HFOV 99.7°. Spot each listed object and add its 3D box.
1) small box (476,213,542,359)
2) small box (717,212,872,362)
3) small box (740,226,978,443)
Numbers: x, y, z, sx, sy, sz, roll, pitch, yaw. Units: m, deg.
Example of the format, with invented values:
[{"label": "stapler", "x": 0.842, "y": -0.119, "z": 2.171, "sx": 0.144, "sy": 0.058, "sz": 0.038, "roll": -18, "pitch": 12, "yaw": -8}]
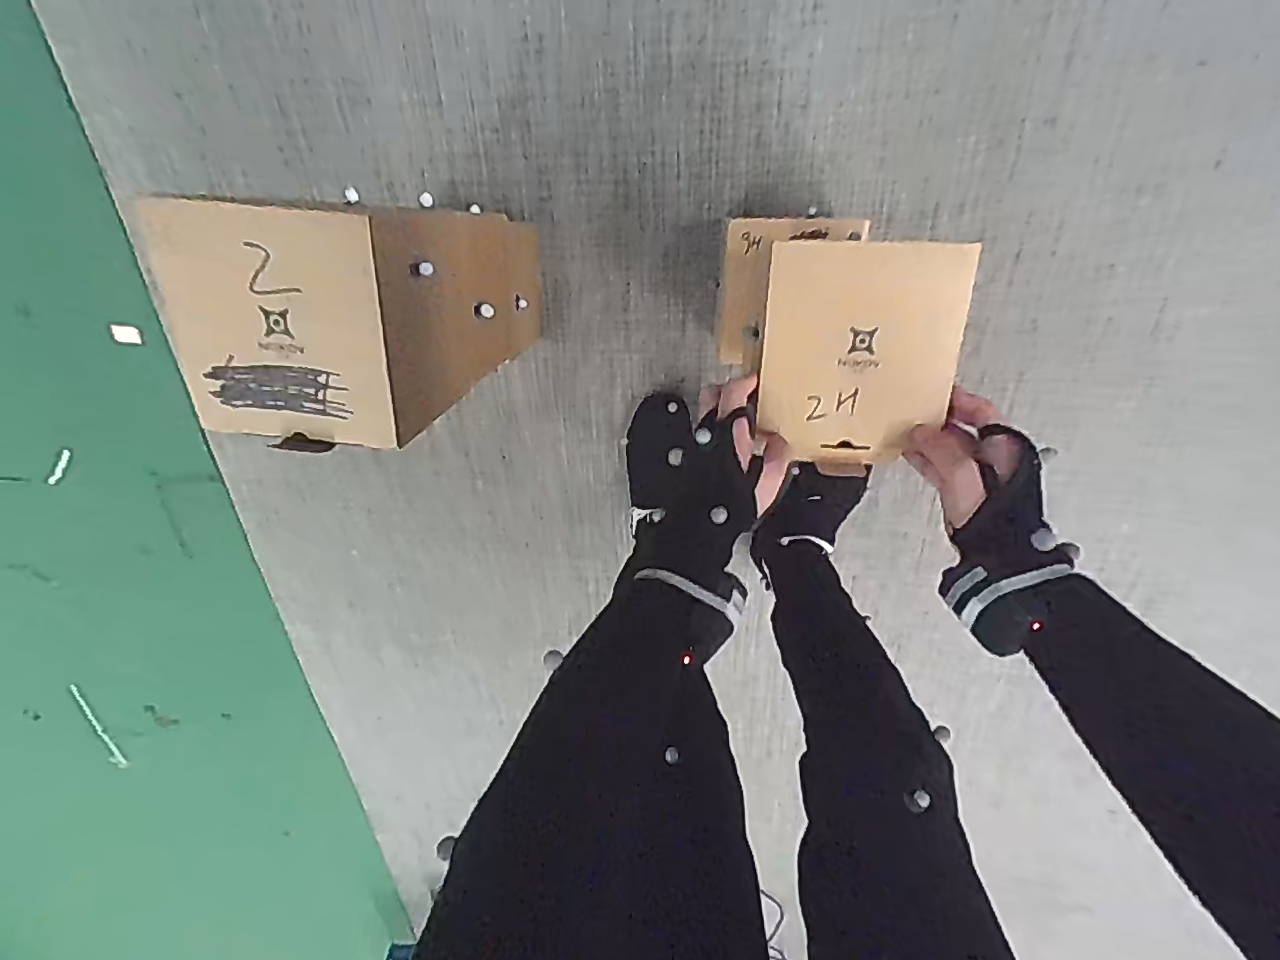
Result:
[{"label": "small box", "x": -0.240, "y": -0.285, "z": 0.776, "sx": 0.168, "sy": 0.176, "sz": 0.179, "roll": 5, "pitch": 115, "yaw": 2}, {"label": "small box", "x": 0.196, "y": -0.267, "z": 0.743, "sx": 0.168, "sy": 0.176, "sz": 0.179, "roll": 3, "pitch": 117, "yaw": 4}, {"label": "small box", "x": 0.196, "y": -0.146, "z": 0.543, "sx": 0.168, "sy": 0.176, "sz": 0.179, "roll": 4, "pitch": 110, "yaw": 4}]
